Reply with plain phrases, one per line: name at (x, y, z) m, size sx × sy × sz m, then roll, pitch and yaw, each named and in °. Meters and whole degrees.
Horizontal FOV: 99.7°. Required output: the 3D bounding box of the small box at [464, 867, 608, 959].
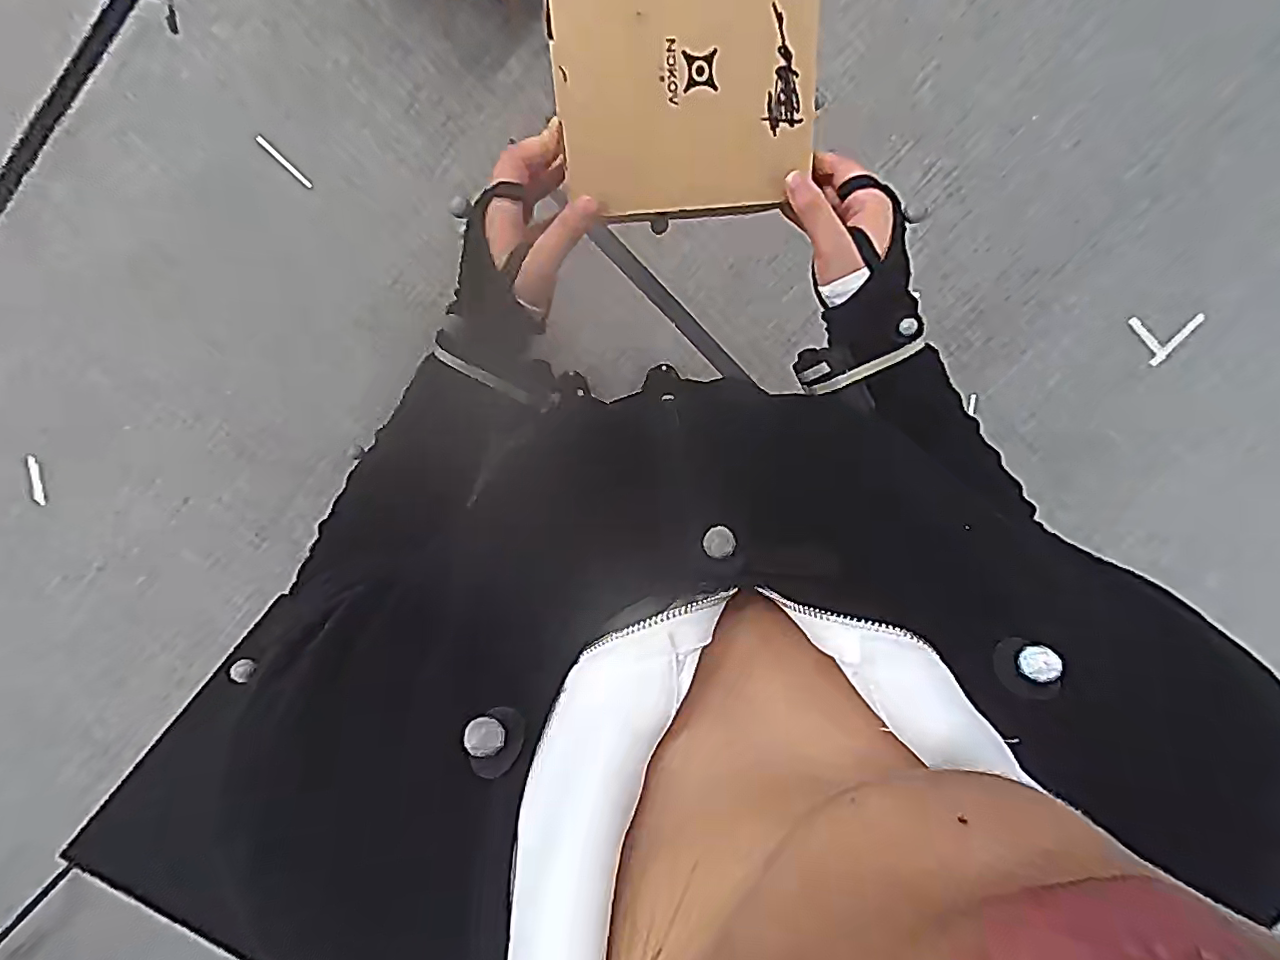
small box at (-0.167, 0.762, 0.852) m, size 0.179 × 0.176 × 0.168 m, roll 42°, pitch 99°, yaw -11°

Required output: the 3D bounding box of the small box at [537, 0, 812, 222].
small box at (0.021, -0.303, 0.427) m, size 0.179 × 0.176 × 0.168 m, roll -5°, pitch 114°, yaw -2°

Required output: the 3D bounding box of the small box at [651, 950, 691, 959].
small box at (0.056, 0.947, 0.905) m, size 0.179 × 0.176 × 0.168 m, roll 39°, pitch 100°, yaw -11°
